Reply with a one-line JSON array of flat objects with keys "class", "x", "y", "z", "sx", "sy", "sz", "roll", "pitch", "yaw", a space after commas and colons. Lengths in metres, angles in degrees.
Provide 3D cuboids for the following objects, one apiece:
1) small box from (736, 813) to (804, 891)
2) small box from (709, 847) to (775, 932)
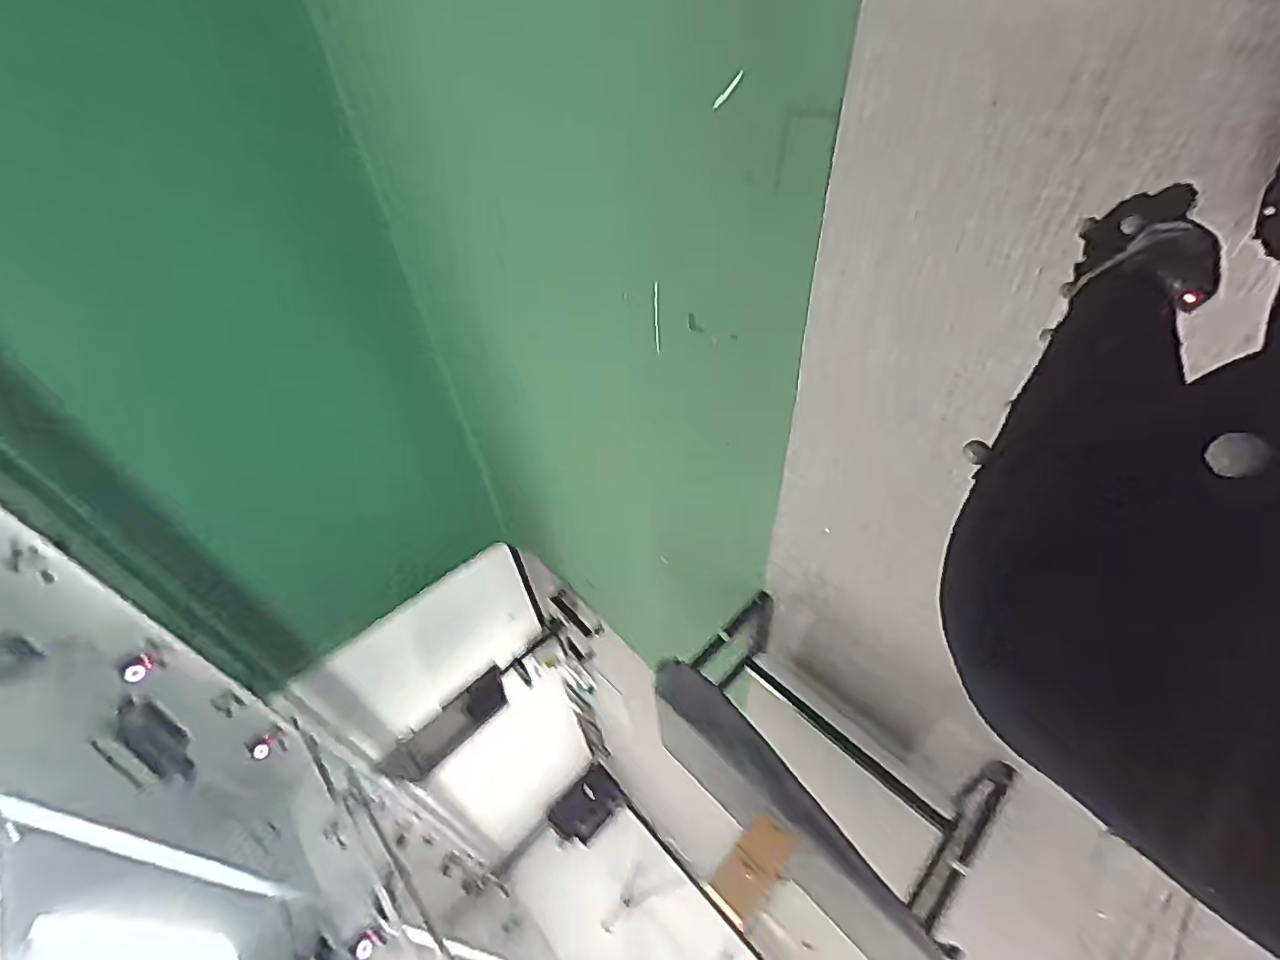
[{"class": "small box", "x": 0.481, "y": 1.377, "z": 2.012, "sx": 0.179, "sy": 0.176, "sz": 0.168, "roll": 36, "pitch": 149, "yaw": 32}, {"class": "small box", "x": 0.366, "y": 1.466, "z": 1.939, "sx": 0.168, "sy": 0.176, "sz": 0.179, "roll": 32, "pitch": 145, "yaw": 33}]
